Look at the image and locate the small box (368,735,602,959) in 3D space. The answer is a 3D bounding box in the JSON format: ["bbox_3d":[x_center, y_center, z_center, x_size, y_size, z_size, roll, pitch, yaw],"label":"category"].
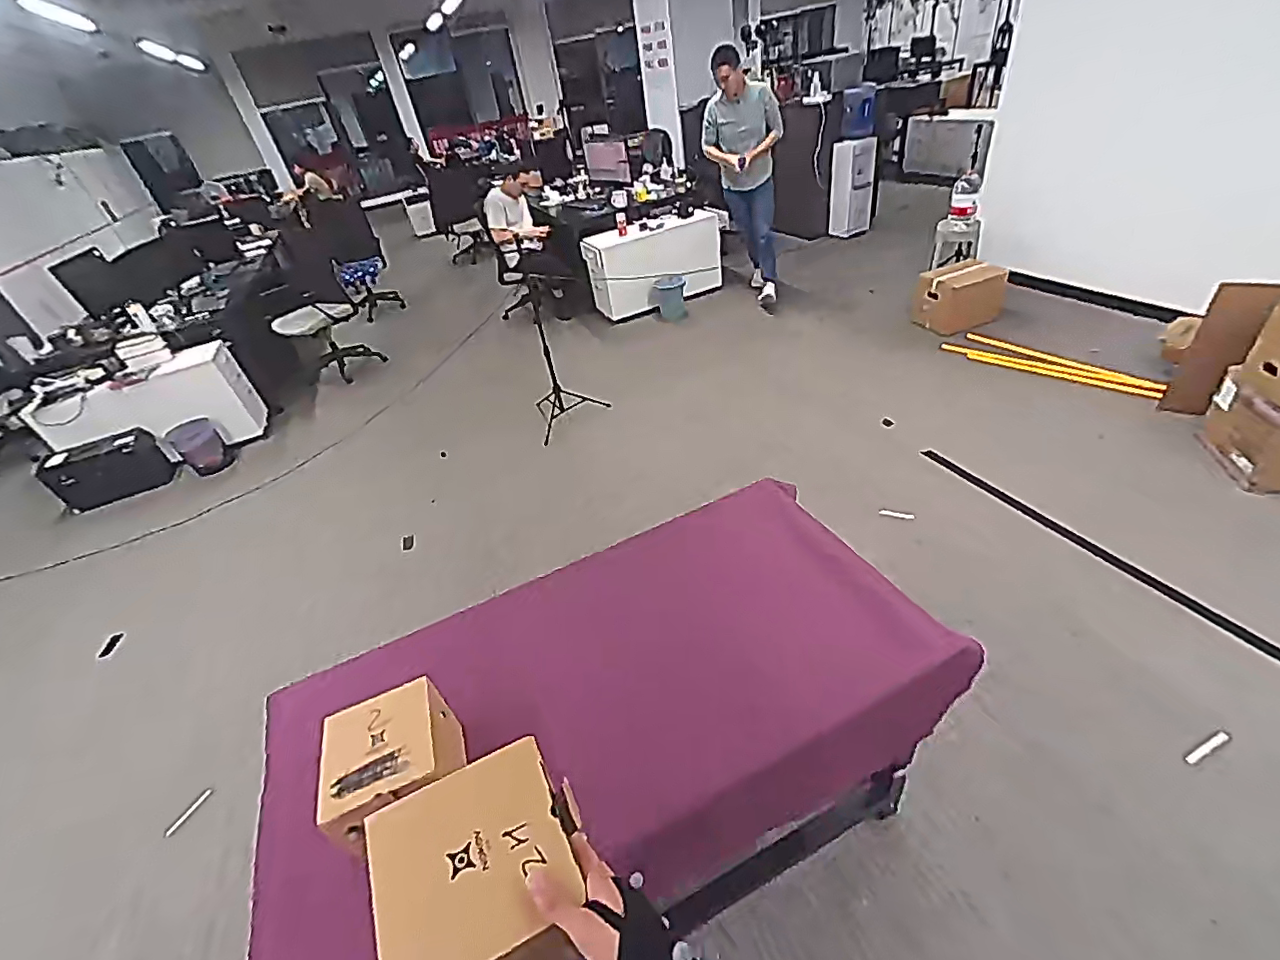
[{"bbox_3d":[-0.152,0.410,0.557,0.179,0.176,0.168,-20,44,-19],"label":"small box"}]
